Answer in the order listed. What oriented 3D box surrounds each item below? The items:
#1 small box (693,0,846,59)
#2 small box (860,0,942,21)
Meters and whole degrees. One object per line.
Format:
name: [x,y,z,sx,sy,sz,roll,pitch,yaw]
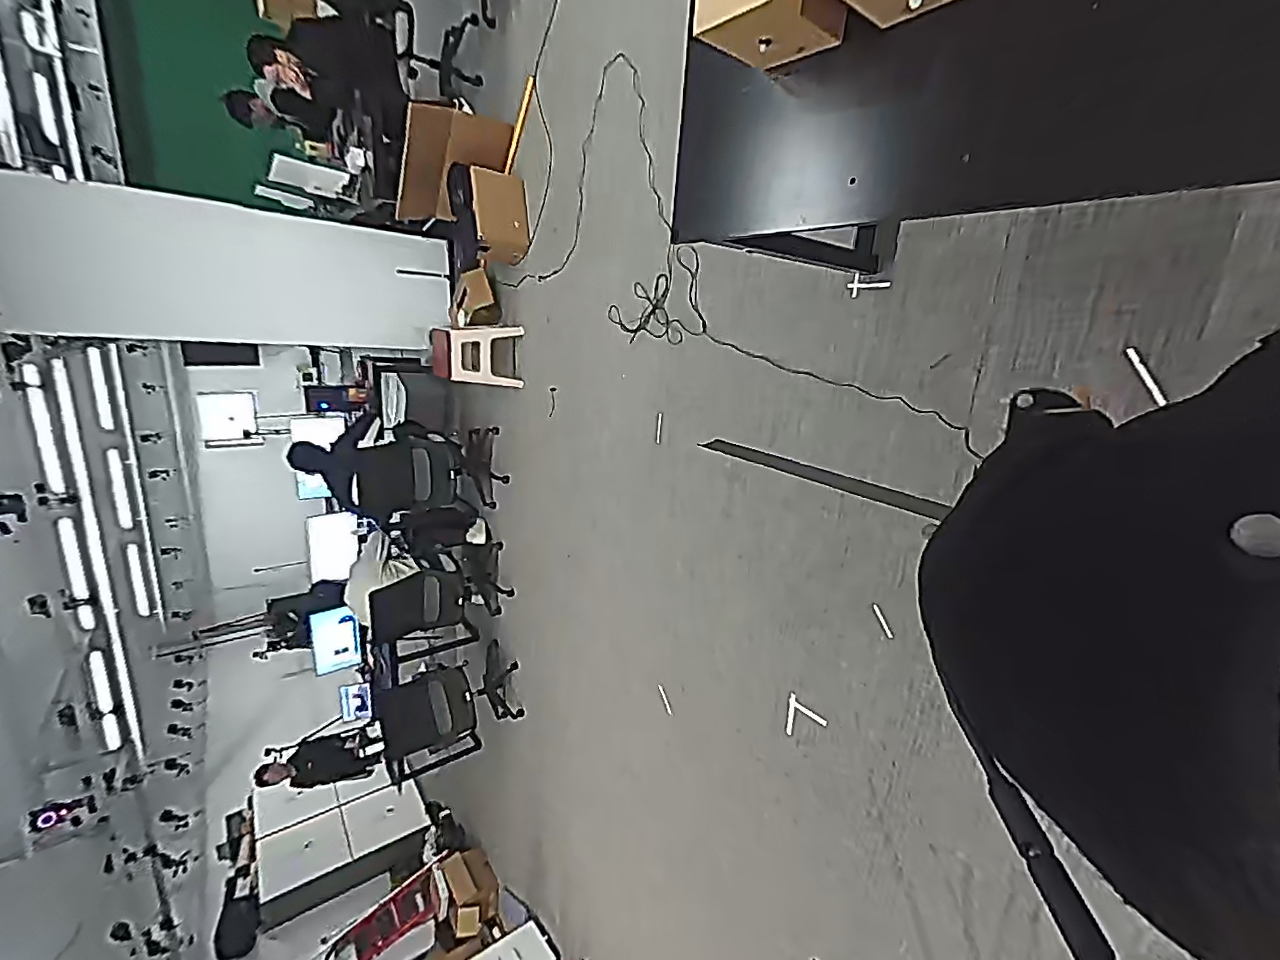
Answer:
small box: [0.204,-0.773,0.816,0.168,0.176,0.179,27,117,48]
small box: [0.338,-0.709,0.647,0.168,0.176,0.179,22,115,49]
